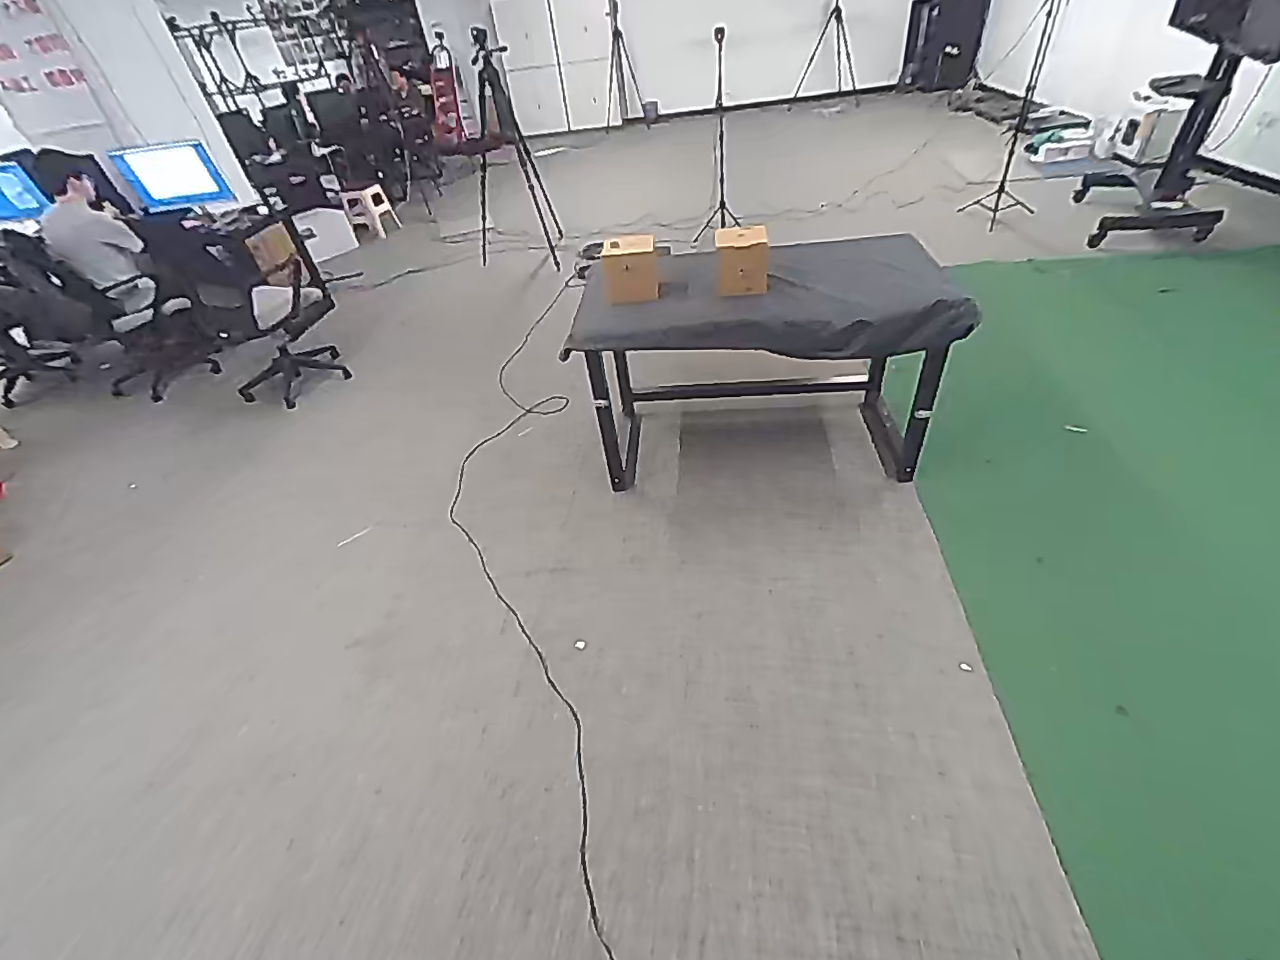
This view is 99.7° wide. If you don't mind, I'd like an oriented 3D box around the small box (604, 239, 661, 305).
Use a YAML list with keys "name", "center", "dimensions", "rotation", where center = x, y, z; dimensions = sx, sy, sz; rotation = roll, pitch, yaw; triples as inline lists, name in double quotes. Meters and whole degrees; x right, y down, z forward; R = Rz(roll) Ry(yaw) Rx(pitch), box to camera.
- name: "small box"
  center: [-0.022, -0.718, 1.875]
  dimensions: [0.179, 0.176, 0.168]
  rotation: [-3, 41, 5]

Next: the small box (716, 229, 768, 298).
- name: "small box"
  center: [0.344, -0.721, 1.816]
  dimensions: [0.168, 0.176, 0.179]
  rotation: [-1, 42, 9]
